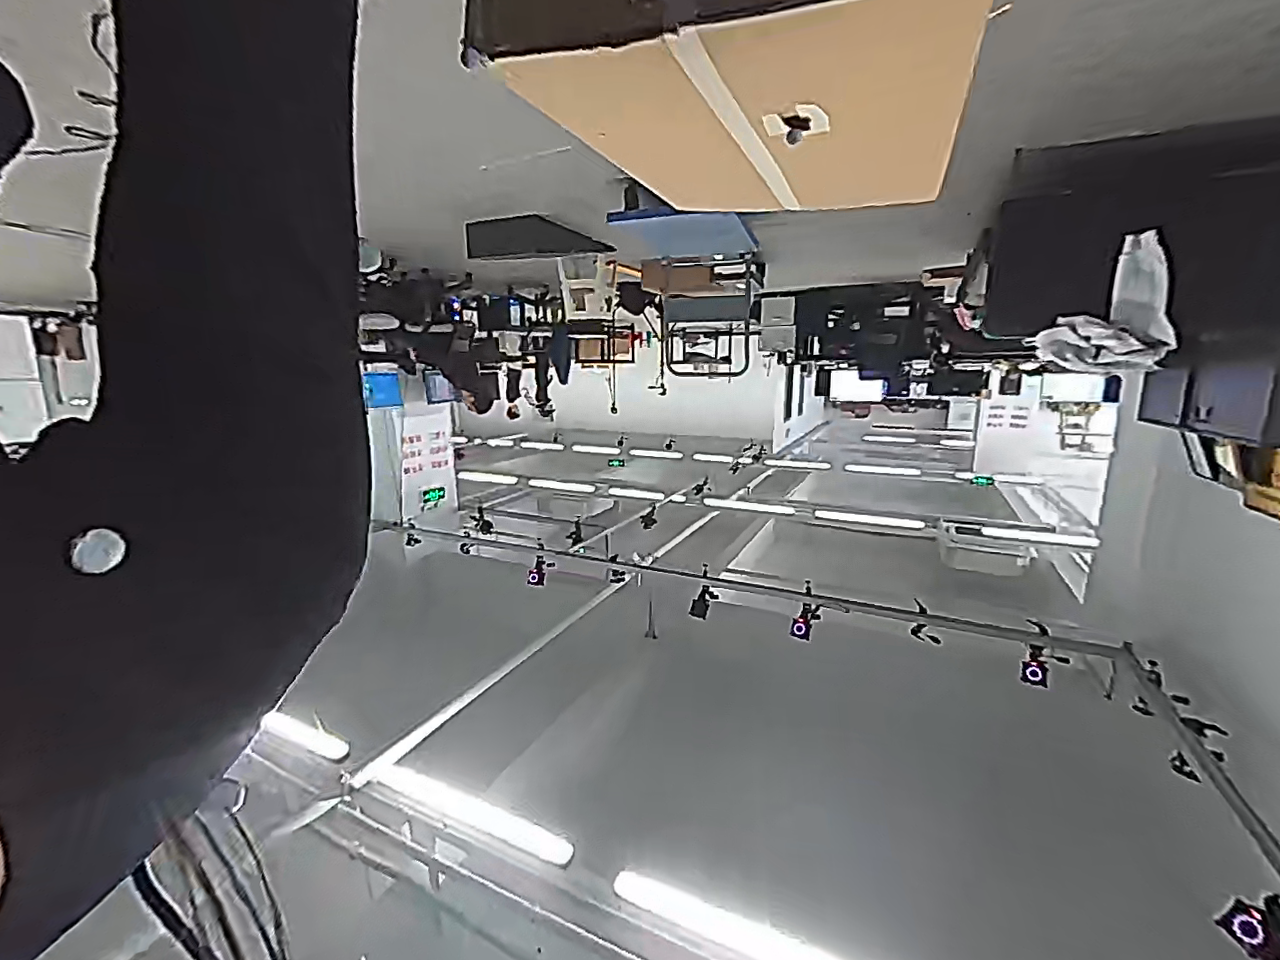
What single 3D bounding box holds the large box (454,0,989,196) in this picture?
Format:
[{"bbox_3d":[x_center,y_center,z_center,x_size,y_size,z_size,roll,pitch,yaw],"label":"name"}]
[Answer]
[{"bbox_3d":[0.114,-0.452,0.428,0.320,0.320,0.408,10,-166,23],"label":"large box"}]
